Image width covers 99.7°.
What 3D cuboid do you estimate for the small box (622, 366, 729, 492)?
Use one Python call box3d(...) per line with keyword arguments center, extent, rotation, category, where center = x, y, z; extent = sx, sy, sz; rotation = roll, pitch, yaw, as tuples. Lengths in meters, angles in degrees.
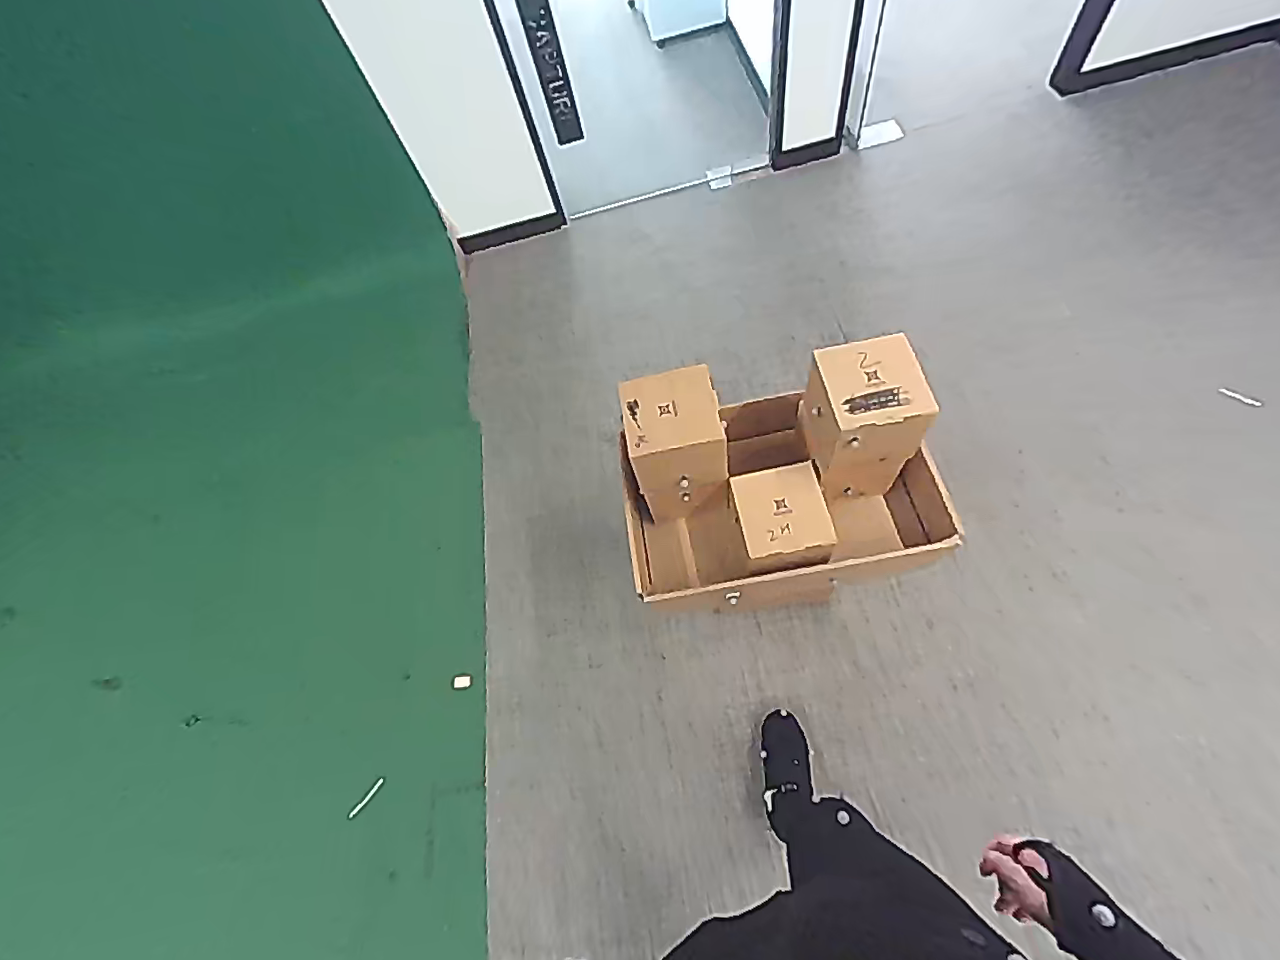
box3d(center=(0.071, -0.093, 1.049), extent=(0.179, 0.176, 0.168), rotation=(-11, 63, 4), category="small box")
